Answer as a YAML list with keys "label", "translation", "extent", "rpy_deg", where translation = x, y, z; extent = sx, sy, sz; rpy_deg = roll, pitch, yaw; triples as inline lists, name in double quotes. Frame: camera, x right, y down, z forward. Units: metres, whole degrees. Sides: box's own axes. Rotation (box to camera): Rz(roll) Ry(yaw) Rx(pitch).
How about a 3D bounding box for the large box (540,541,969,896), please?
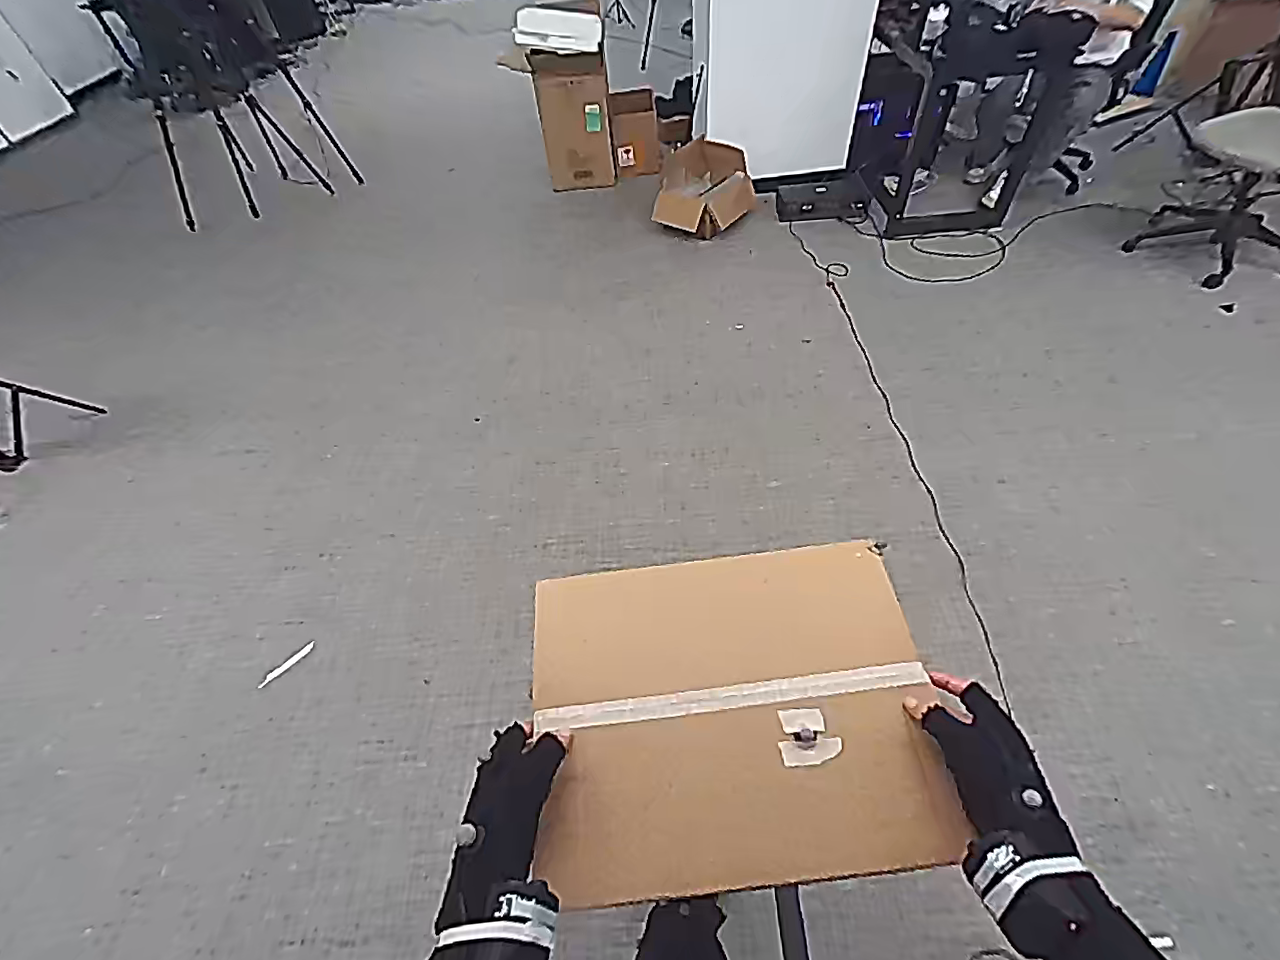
- label: "large box"
  translation: [0.100, 0.311, 0.699]
  extent: [0.408, 0.320, 0.320]
  rpy_deg: [-7, 55, 0]
